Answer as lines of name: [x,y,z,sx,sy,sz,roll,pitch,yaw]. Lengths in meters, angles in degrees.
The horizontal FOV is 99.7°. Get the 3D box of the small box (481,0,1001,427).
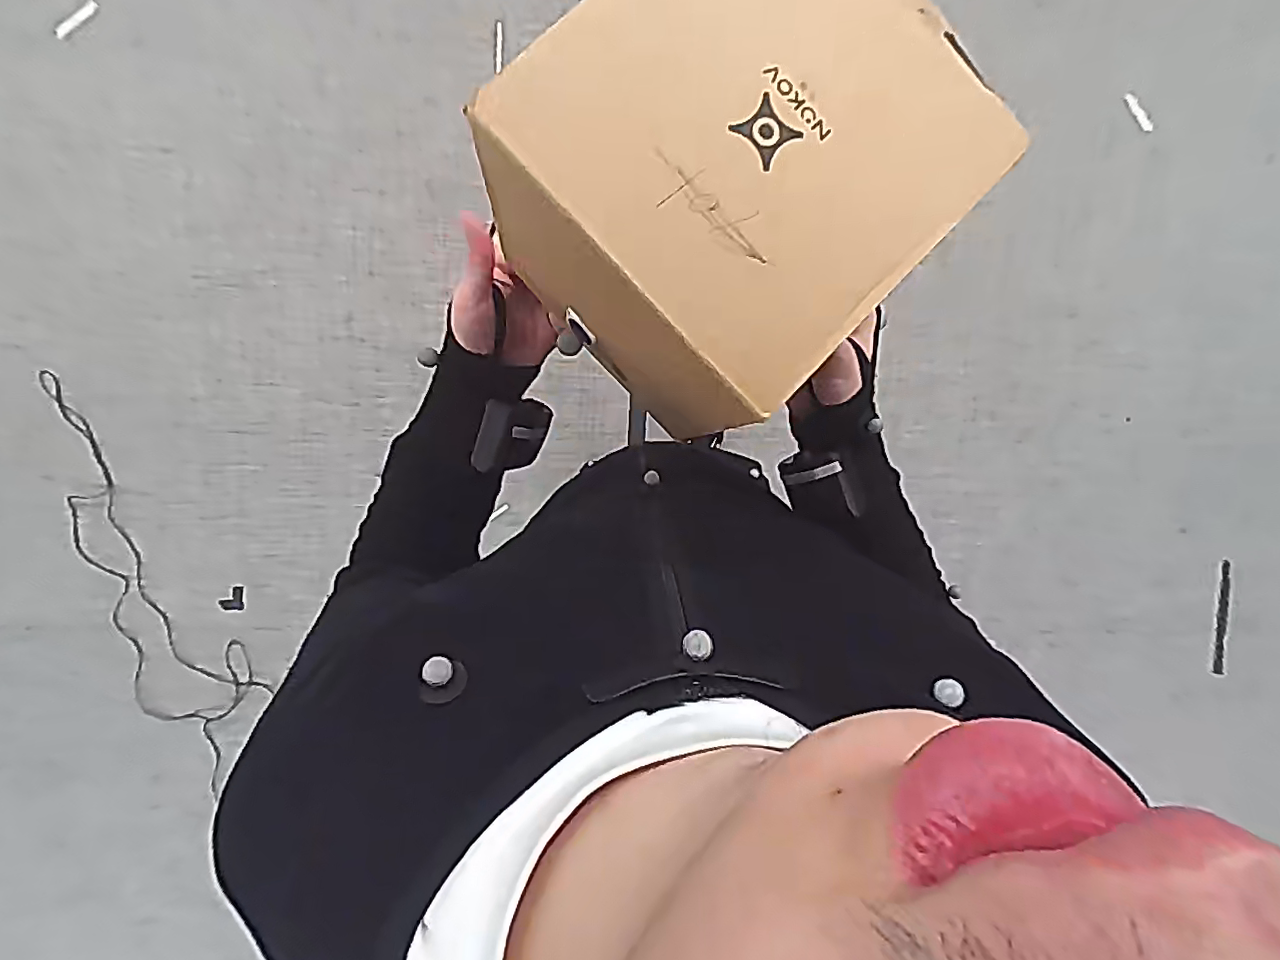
small box: [0.039,-0.149,0.308,0.168,0.176,0.179,44,86,-6]
